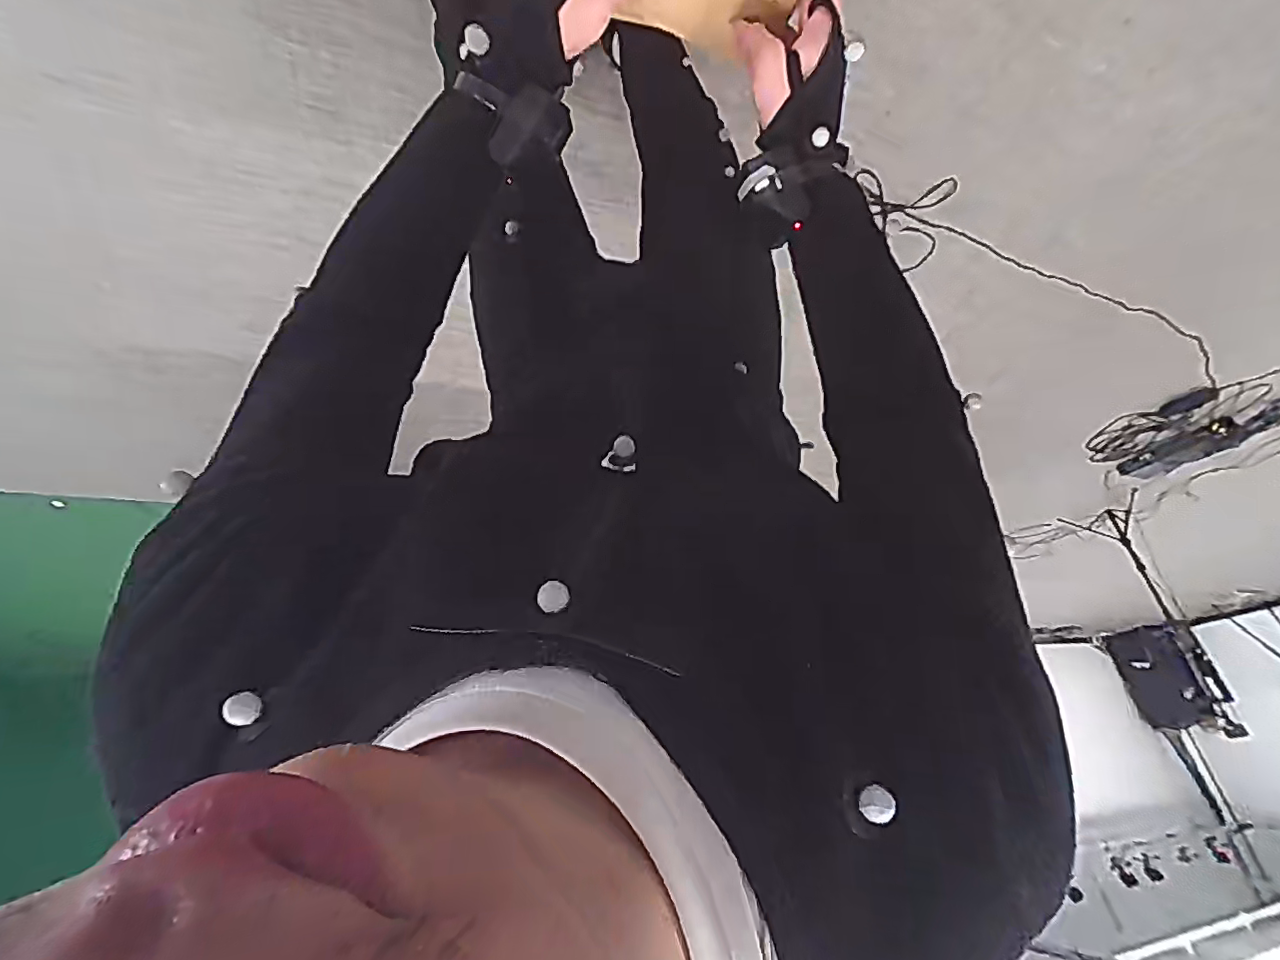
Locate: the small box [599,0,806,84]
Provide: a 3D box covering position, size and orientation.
[{"bbox_3d":[0.052,-0.468,0.421,0.179,0.176,0.168,6,146,-27],"label":"small box"}]
